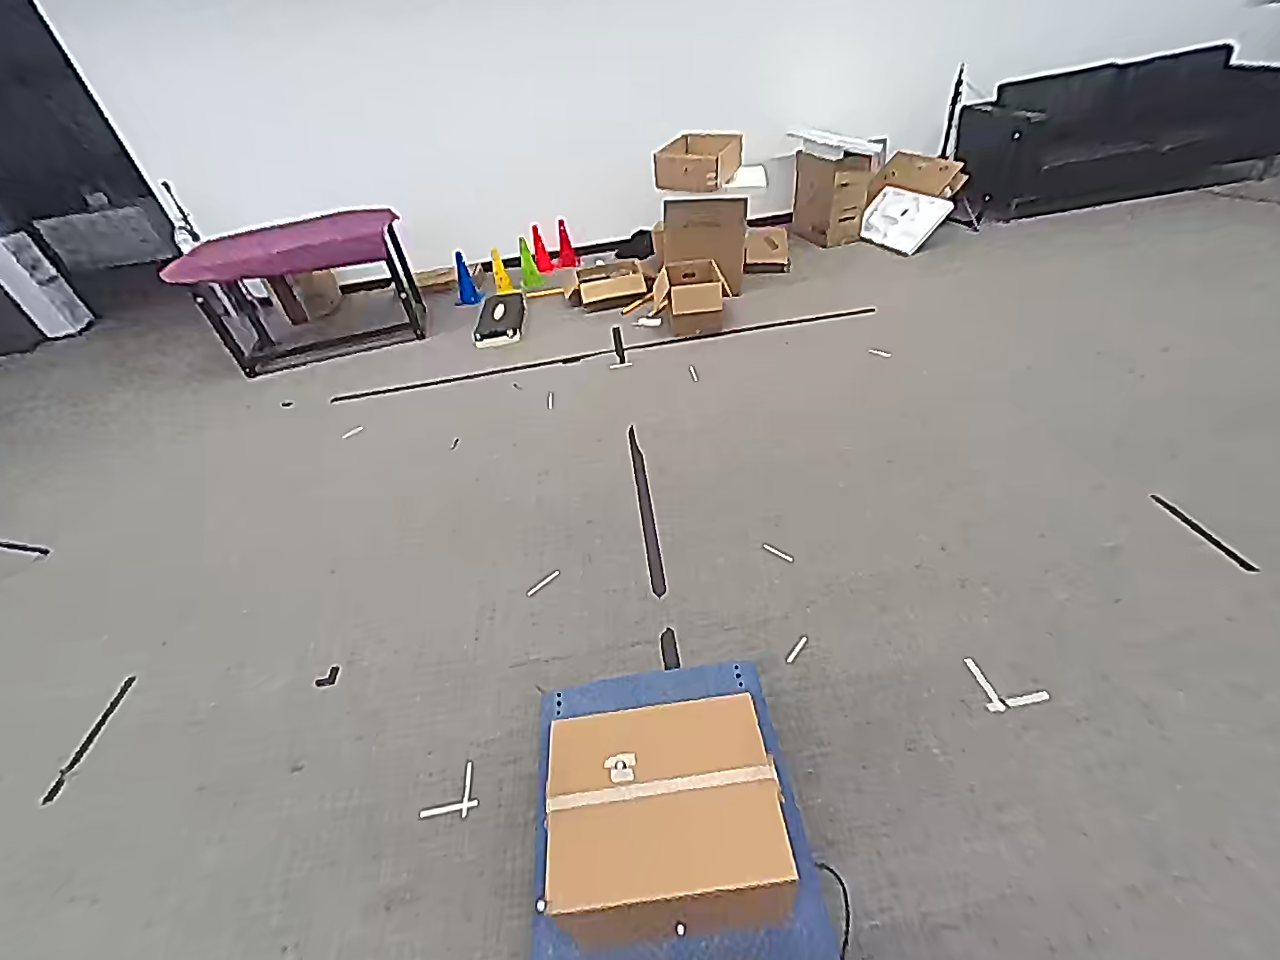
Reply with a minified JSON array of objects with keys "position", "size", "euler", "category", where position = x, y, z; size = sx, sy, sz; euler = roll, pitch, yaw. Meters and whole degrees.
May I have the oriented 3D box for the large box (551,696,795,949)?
[{"position":[0.059,0.679,1.073],"size":[0.408,0.320,0.320],"euler":[-10,39,1],"category":"large box"}]
